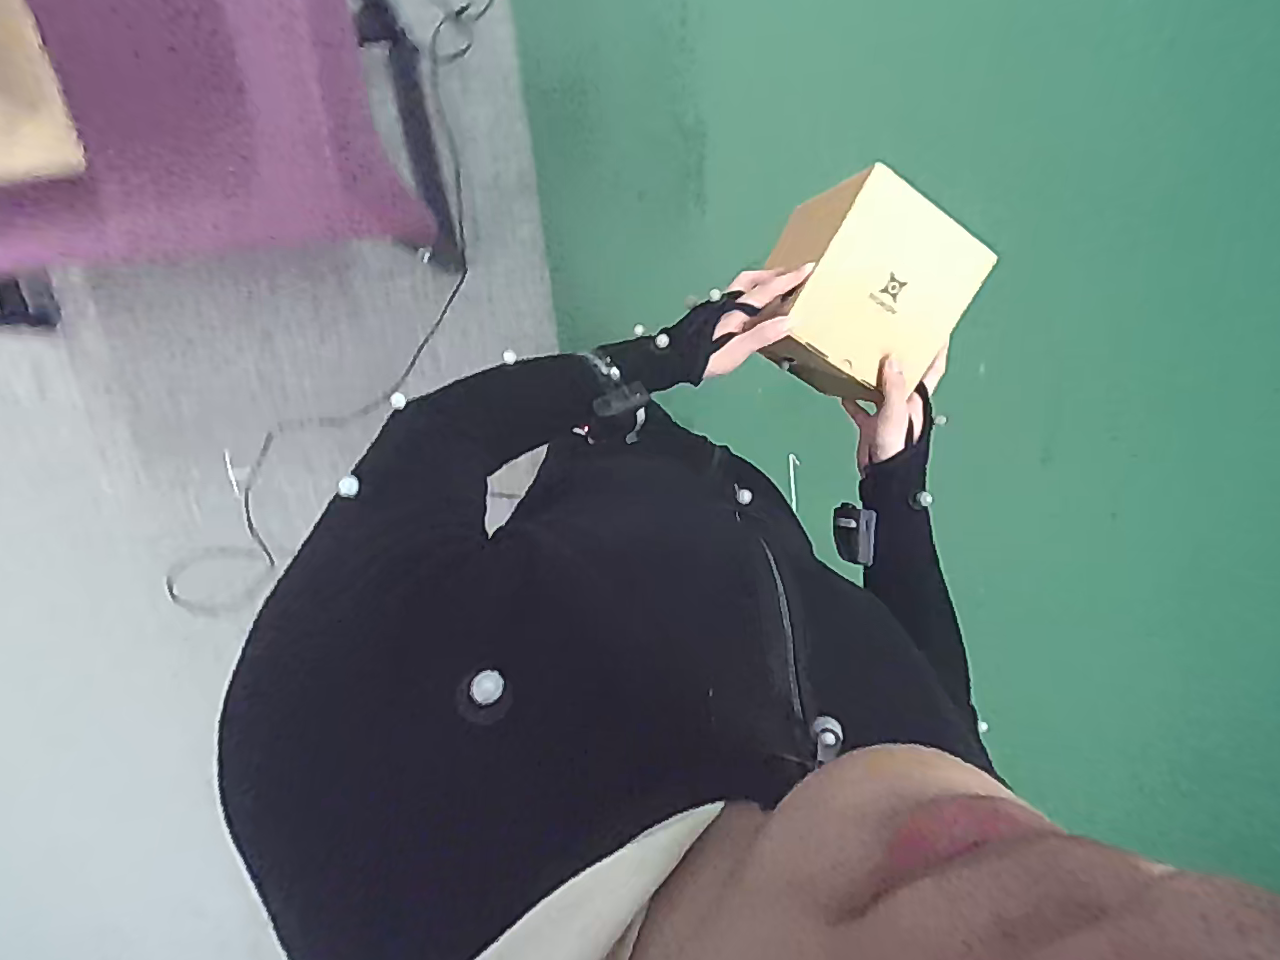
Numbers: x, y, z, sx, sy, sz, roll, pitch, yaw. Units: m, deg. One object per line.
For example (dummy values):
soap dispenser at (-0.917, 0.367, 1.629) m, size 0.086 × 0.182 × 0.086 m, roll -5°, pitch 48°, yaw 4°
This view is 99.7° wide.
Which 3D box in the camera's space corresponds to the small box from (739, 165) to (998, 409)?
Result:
small box at (0.236, -0.204, 0.607) m, size 0.168 × 0.176 × 0.179 m, roll 27°, pitch 99°, yaw -15°
